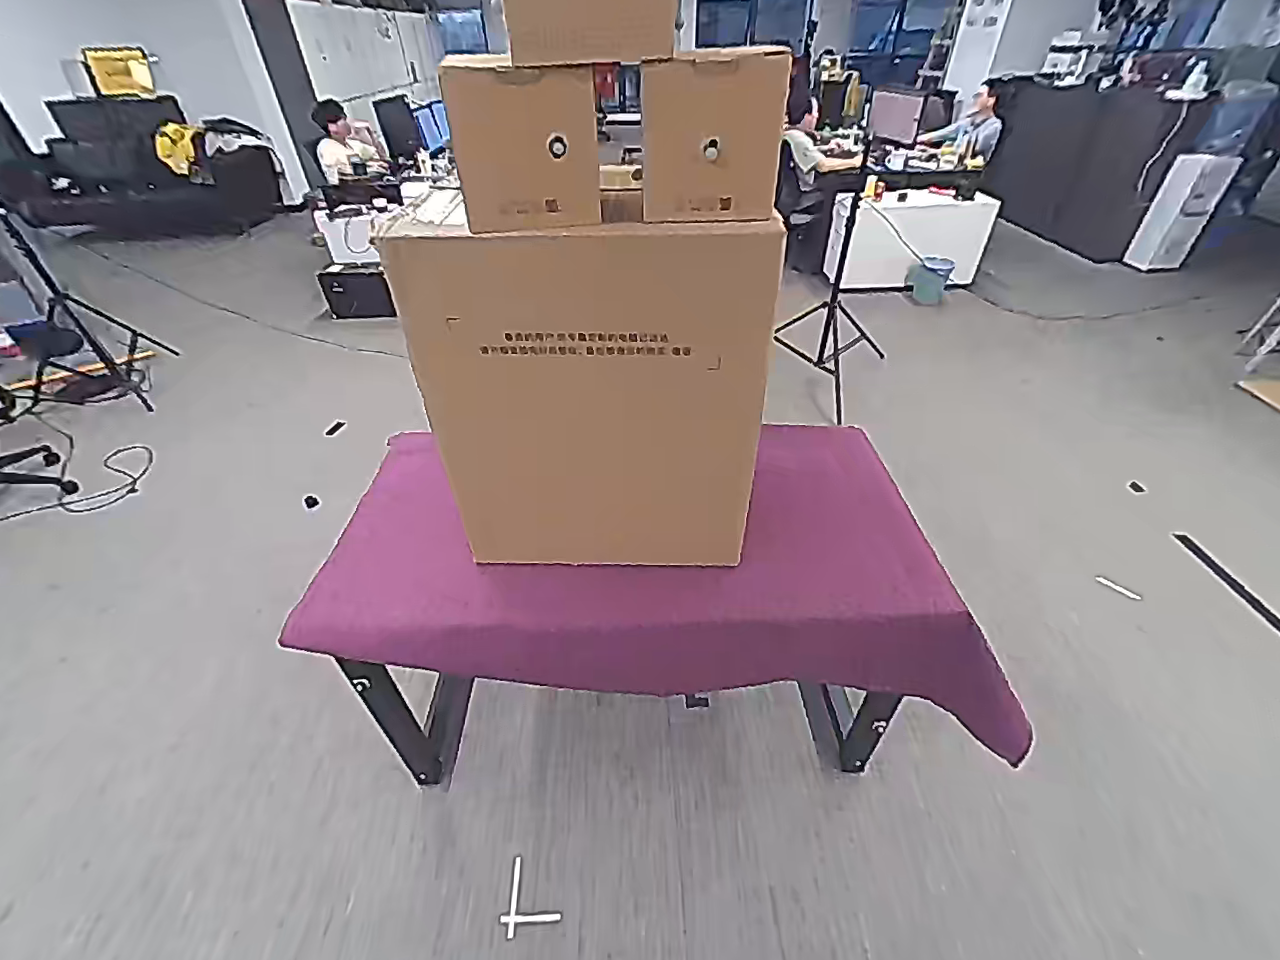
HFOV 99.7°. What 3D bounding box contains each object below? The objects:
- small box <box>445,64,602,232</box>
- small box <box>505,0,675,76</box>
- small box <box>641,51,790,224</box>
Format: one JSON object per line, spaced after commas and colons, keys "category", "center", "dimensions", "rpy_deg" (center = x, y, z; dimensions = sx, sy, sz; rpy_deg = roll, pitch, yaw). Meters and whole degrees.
{"category": "small box", "center": [-0.143, -0.428, 0.697], "dimensions": [0.168, 0.176, 0.179], "rpy_deg": [-7, 40, -9]}
{"category": "small box", "center": [-0.056, -0.551, 0.584], "dimensions": [0.179, 0.176, 0.168], "rpy_deg": [-7, 41, -3]}
{"category": "small box", "center": [0.089, -0.443, 0.703], "dimensions": [0.168, 0.176, 0.179], "rpy_deg": [0, 41, 2]}
